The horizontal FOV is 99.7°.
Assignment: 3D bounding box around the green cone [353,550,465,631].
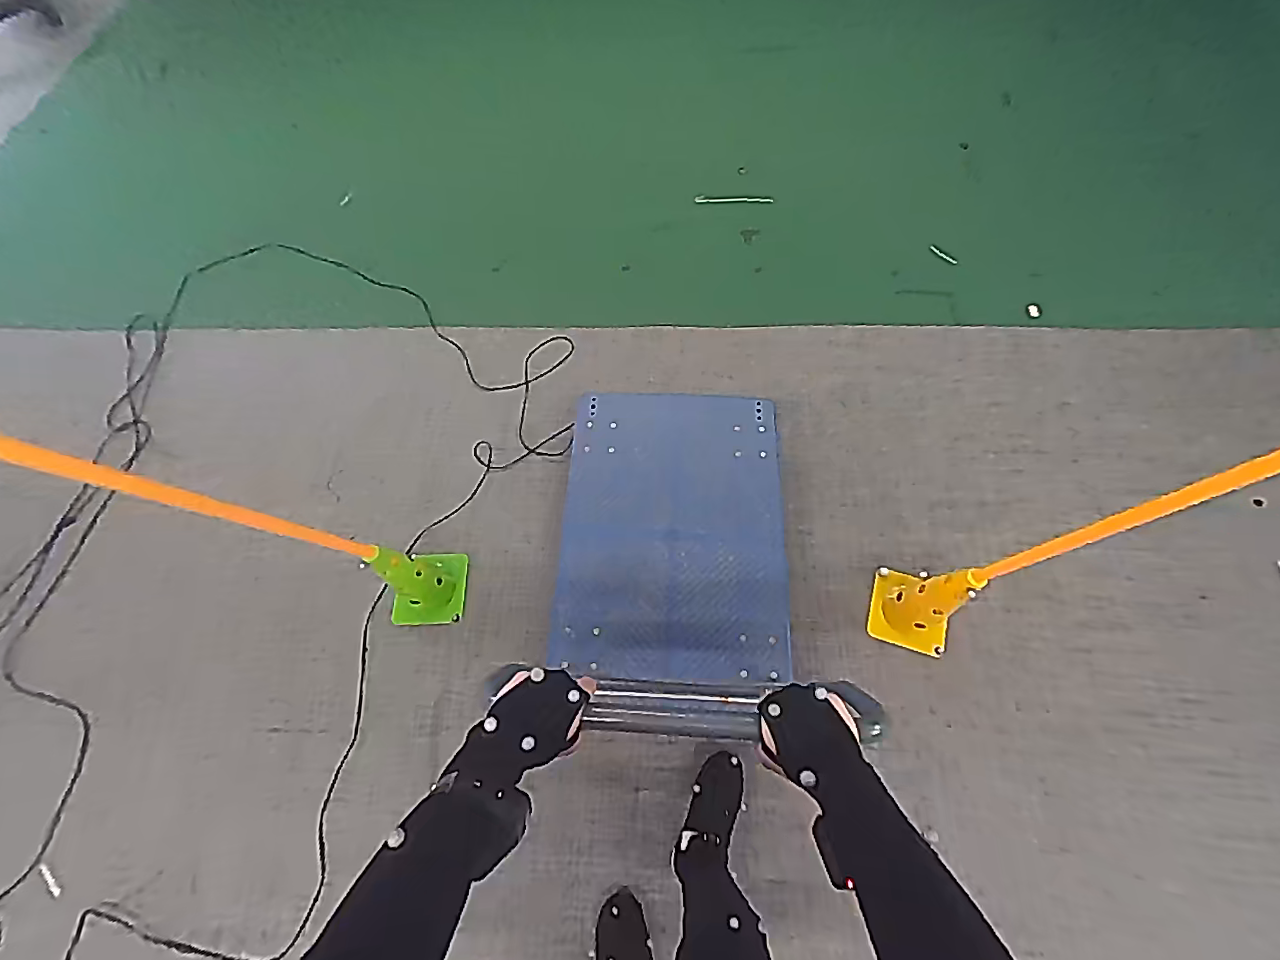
[{"bbox_3d":[-0.610,0.248,1.375,0.202,0.368,0.200,-4,64,3],"label":"green cone"}]
